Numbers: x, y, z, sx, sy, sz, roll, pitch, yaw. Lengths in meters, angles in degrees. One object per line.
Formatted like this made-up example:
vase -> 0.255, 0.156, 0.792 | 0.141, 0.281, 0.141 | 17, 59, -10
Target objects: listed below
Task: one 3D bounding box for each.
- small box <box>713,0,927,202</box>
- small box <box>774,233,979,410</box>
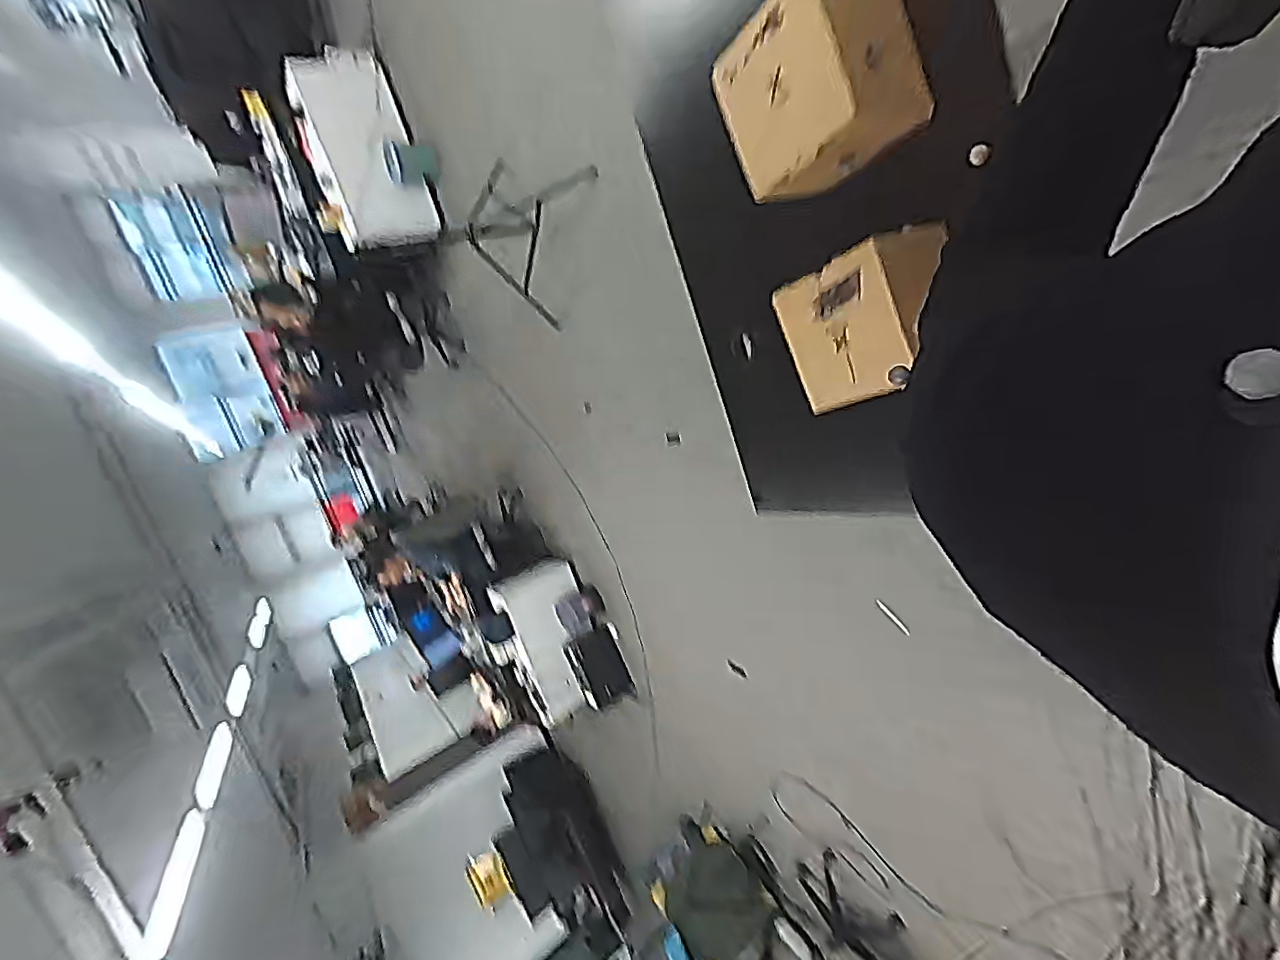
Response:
small box -> 0.231, -0.493, 0.691 | 0.168, 0.176, 0.179 | -14, 100, 59
small box -> 0.322, -0.217, 0.740 | 0.168, 0.176, 0.179 | -13, 100, 59
